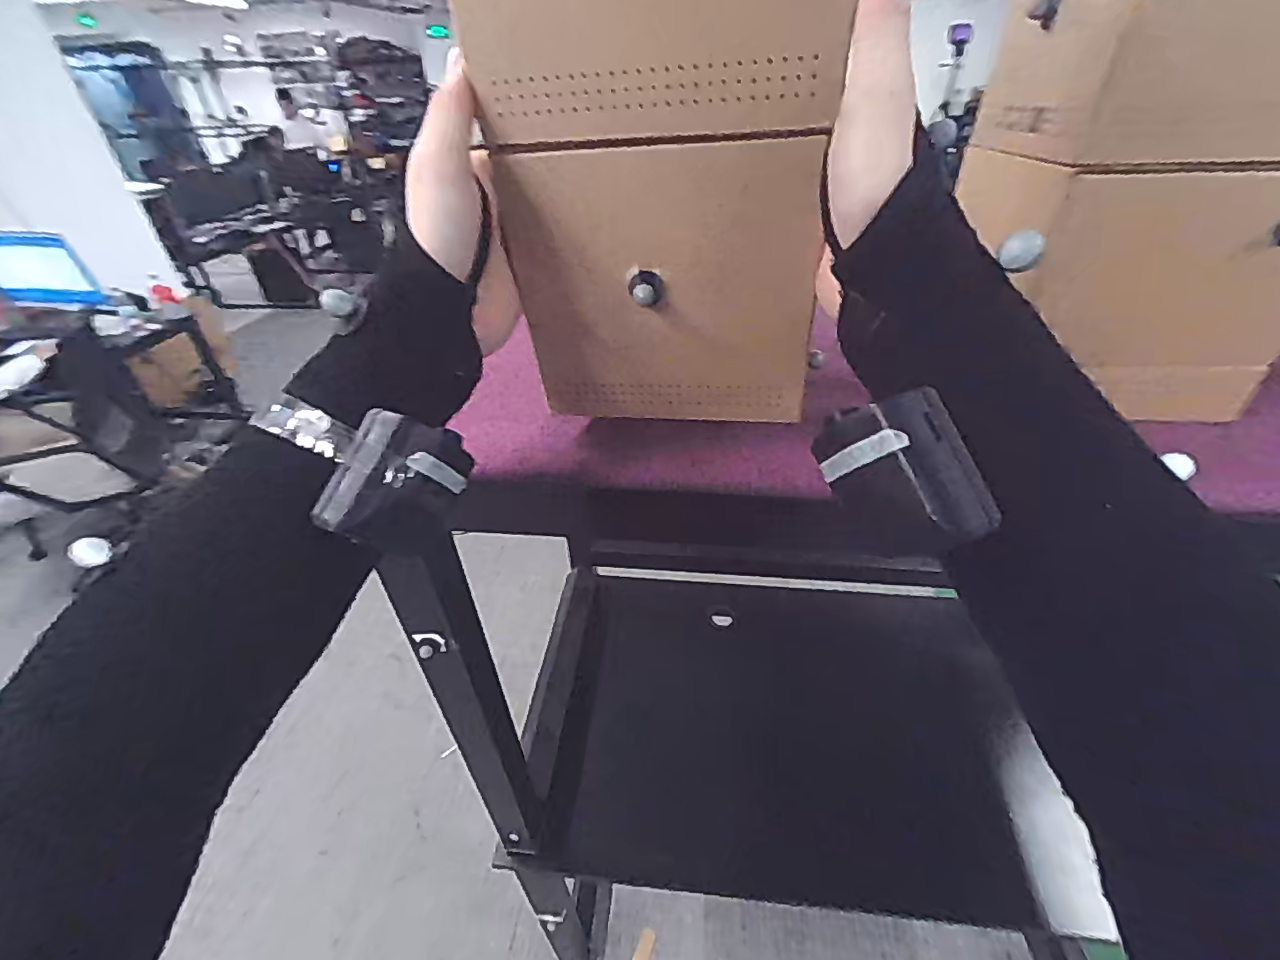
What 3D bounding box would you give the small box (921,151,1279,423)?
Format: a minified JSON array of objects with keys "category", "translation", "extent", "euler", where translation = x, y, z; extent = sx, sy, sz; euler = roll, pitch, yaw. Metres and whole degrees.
[{"category":"small box","translation":[0.343,-0.155,0.423],"extent":[0.179,0.176,0.168],"euler":[2,36,5]}]
